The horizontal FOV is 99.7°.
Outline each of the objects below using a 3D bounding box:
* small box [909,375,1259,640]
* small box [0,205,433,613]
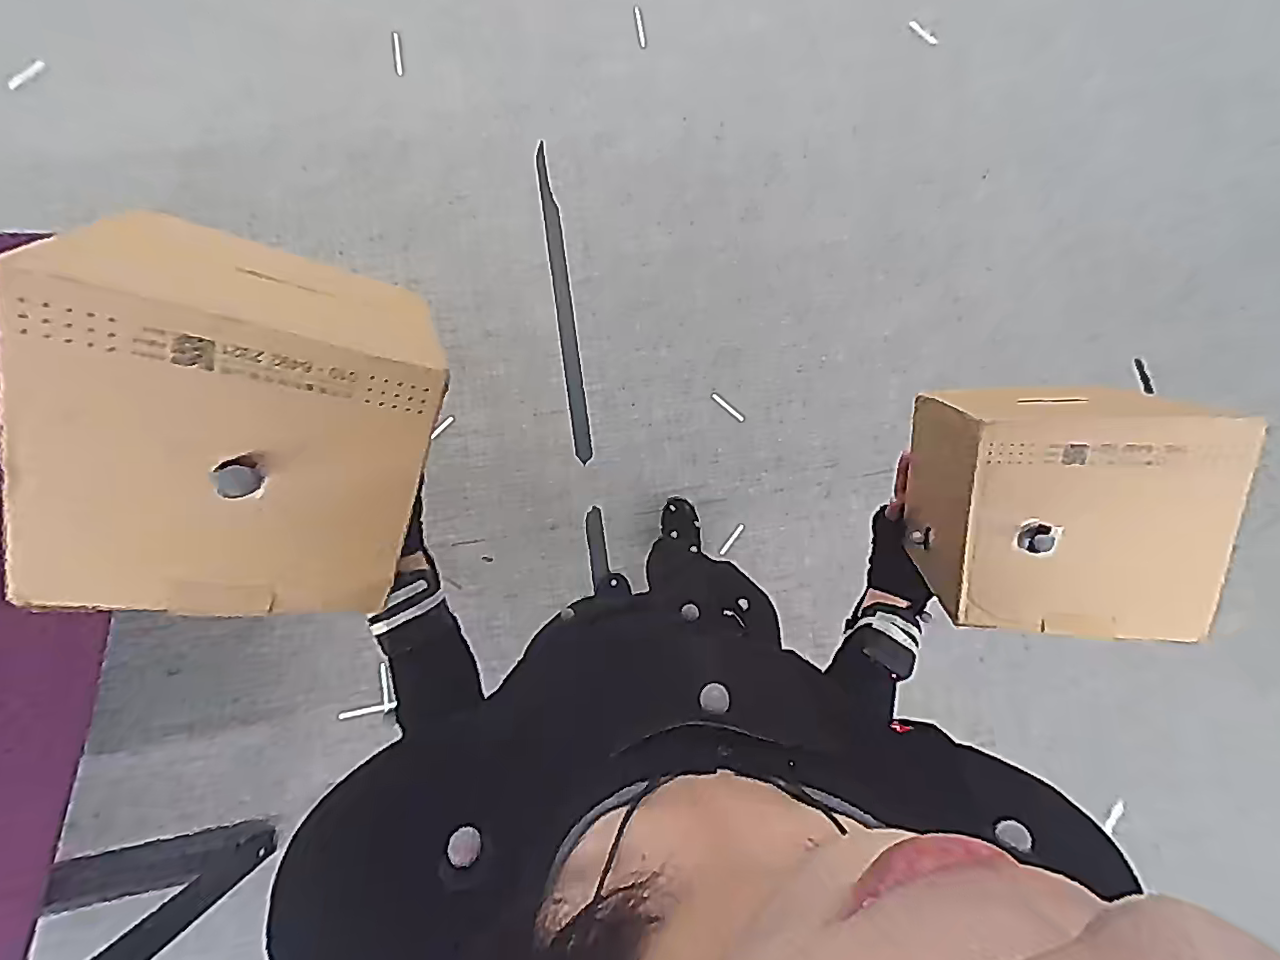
[{"bbox_3d":[0.338,0.008,0.447,0.168,0.179,0.176,1,106,13],"label":"small box"},{"bbox_3d":[-0.229,-0.043,0.319,0.168,0.179,0.176,10,113,-31],"label":"small box"}]
